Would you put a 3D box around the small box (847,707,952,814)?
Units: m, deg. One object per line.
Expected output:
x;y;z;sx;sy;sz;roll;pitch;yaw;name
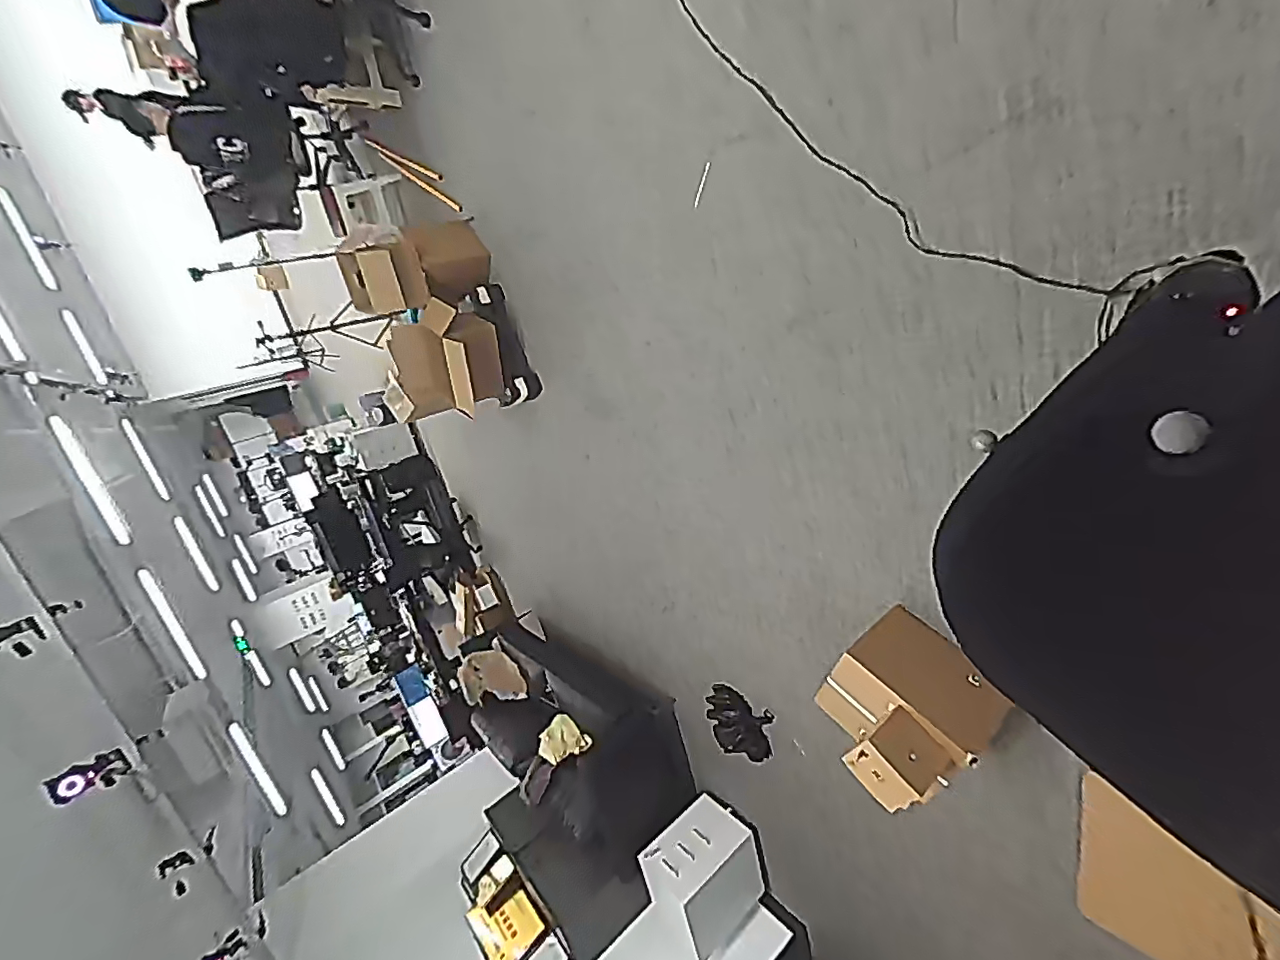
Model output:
0.722;0.776;1.504;0.179;0.176;0.168;45;144;31;small box
